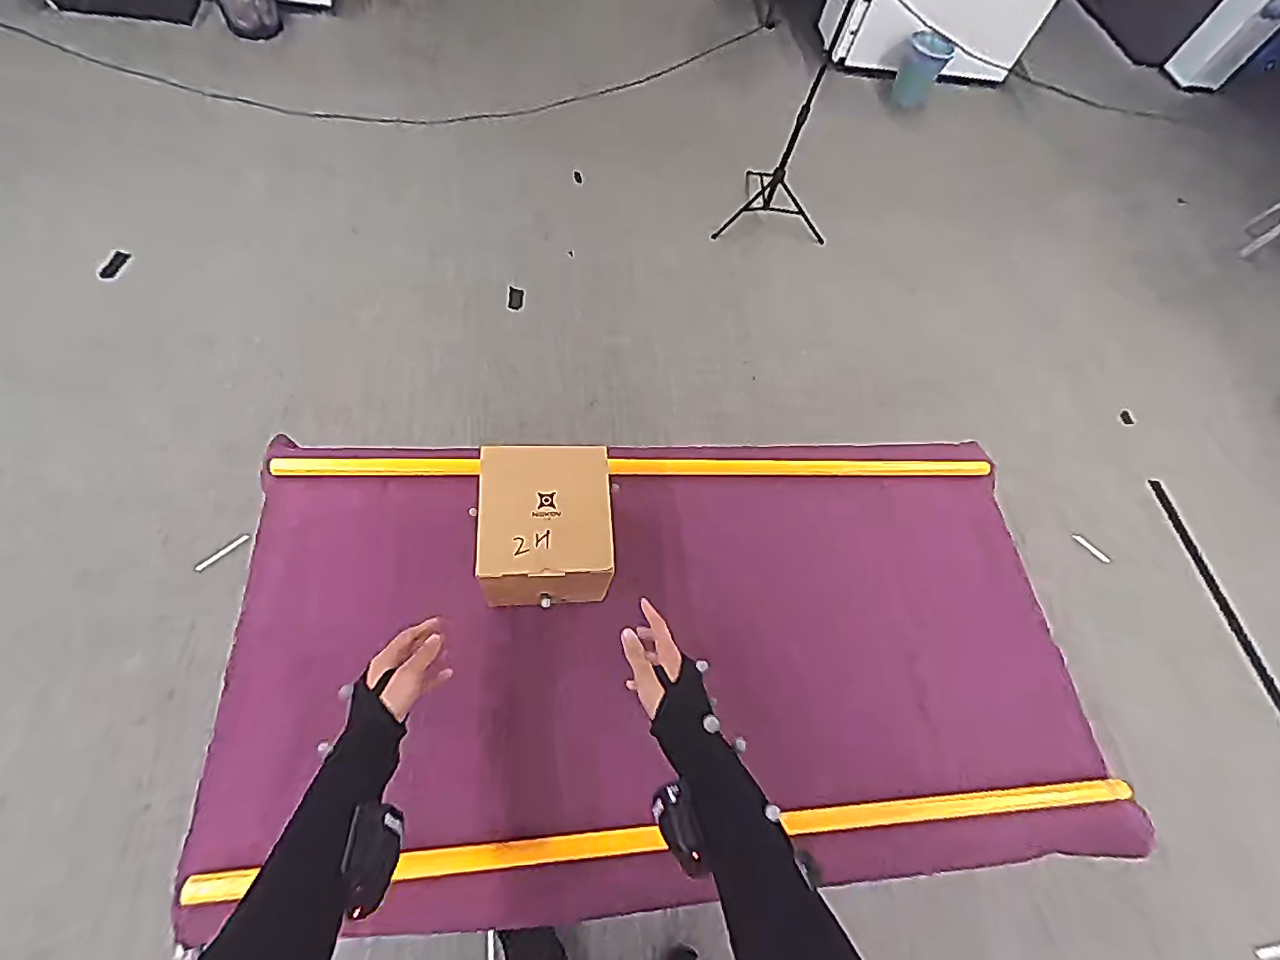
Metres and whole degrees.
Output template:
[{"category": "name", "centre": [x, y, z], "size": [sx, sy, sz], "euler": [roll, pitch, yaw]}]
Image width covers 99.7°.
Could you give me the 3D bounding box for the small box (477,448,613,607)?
[{"category": "small box", "centre": [-0.130, 0.070, 0.755], "size": [0.168, 0.176, 0.179], "euler": [-1, 66, -9]}]
